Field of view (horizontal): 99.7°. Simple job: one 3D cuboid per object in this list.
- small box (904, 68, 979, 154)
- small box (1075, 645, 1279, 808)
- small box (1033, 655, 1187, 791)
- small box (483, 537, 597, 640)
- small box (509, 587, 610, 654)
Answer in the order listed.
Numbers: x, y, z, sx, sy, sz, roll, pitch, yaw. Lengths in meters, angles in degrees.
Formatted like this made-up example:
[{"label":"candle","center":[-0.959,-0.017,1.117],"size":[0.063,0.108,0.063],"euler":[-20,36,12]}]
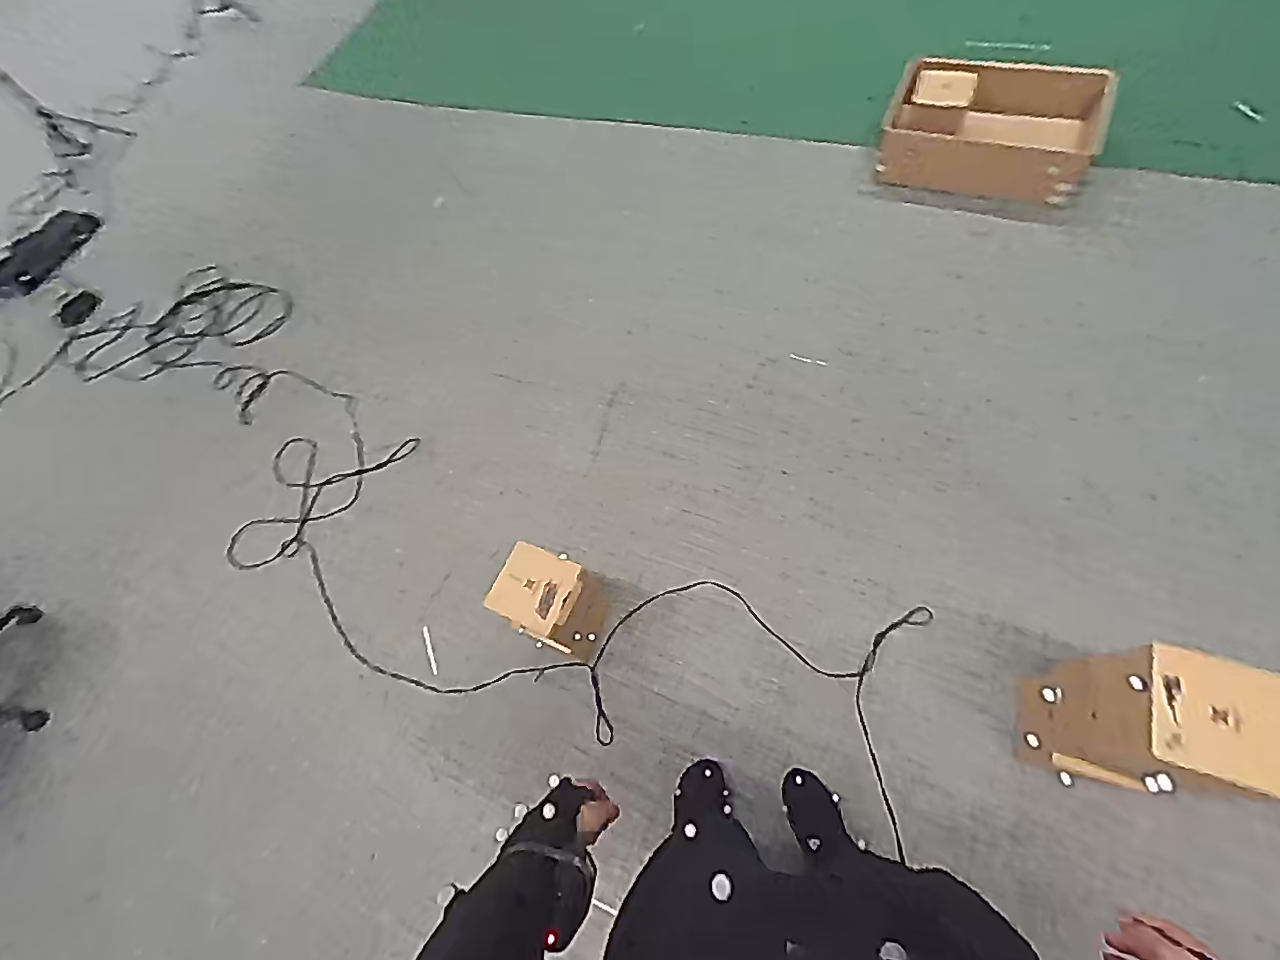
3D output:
[{"label":"small box","center":[1.018,-1.251,1.836],"size":[0.168,0.176,0.179],"euler":[17,71,17]},{"label":"small box","center":[0.821,0.371,0.829],"size":[0.179,0.176,0.168],"euler":[16,69,16]},{"label":"small box","center":[0.856,0.434,0.977],"size":[0.179,0.176,0.168],"euler":[16,68,18]},{"label":"small box","center":[-0.220,0.256,1.246],"size":[0.179,0.176,0.168],"euler":[20,70,20]},{"label":"small box","center":[-0.196,0.335,1.388],"size":[0.179,0.176,0.168],"euler":[19,70,19]}]
